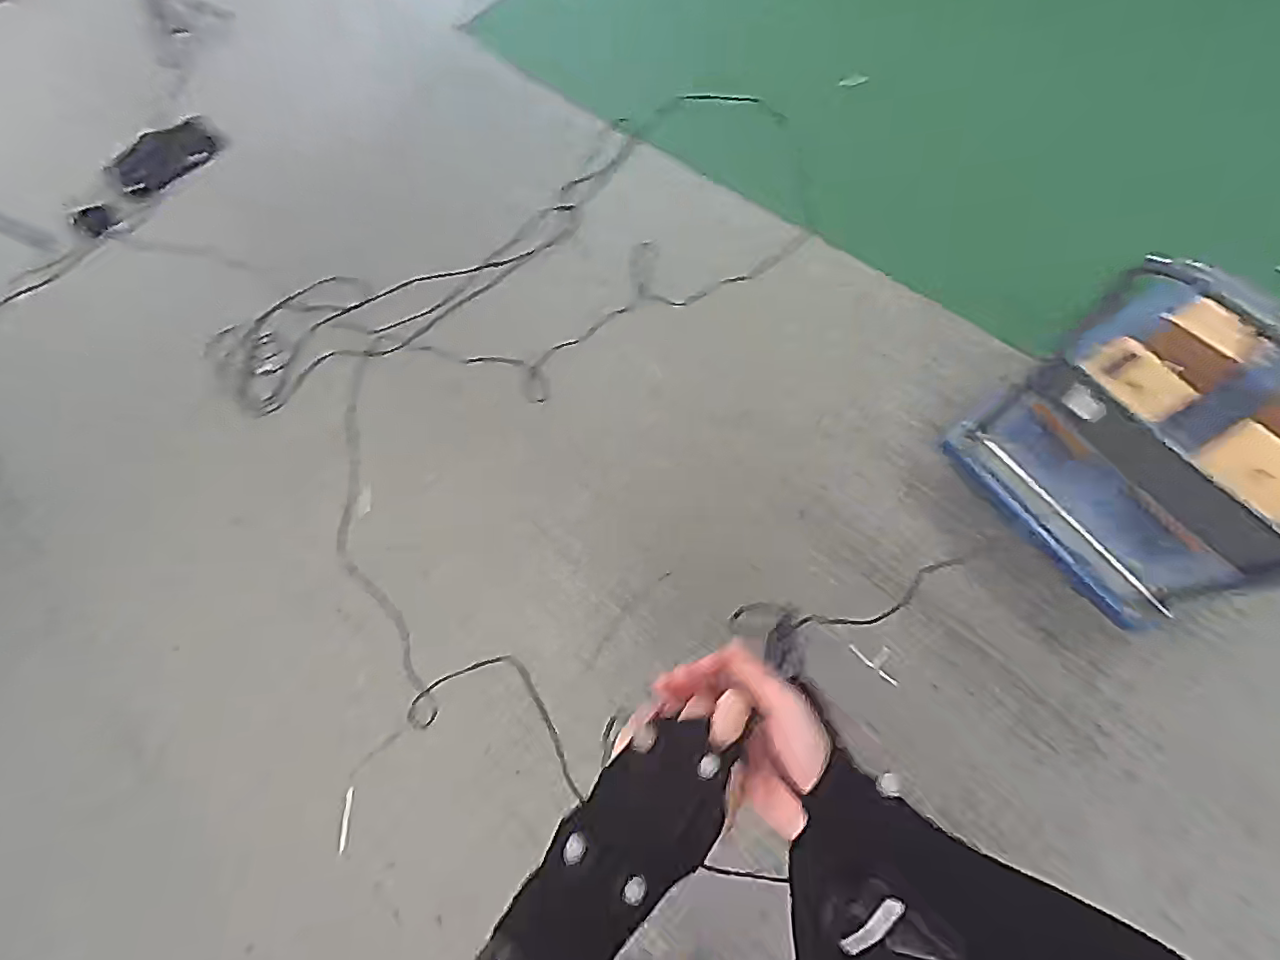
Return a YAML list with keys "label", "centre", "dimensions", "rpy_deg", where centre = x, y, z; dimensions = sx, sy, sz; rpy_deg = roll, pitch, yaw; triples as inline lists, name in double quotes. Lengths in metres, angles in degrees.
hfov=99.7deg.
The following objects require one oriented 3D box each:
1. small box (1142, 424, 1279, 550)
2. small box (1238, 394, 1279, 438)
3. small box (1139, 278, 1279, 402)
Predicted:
- label: "small box"
  centre: [1.219, 0.021, 1.118]
  dimensions: [0.179, 0.176, 0.168]
  rpy_deg: [-32, 68, -2]
- label: "small box"
  centre: [1.446, -0.127, 1.131]
  dimensions: [0.179, 0.176, 0.168]
  rpy_deg: [-37, 67, -4]
- label: "small box"
  centre: [1.301, -0.309, 1.226]
  dimensions: [0.179, 0.176, 0.168]
  rpy_deg: [-36, 68, -5]
